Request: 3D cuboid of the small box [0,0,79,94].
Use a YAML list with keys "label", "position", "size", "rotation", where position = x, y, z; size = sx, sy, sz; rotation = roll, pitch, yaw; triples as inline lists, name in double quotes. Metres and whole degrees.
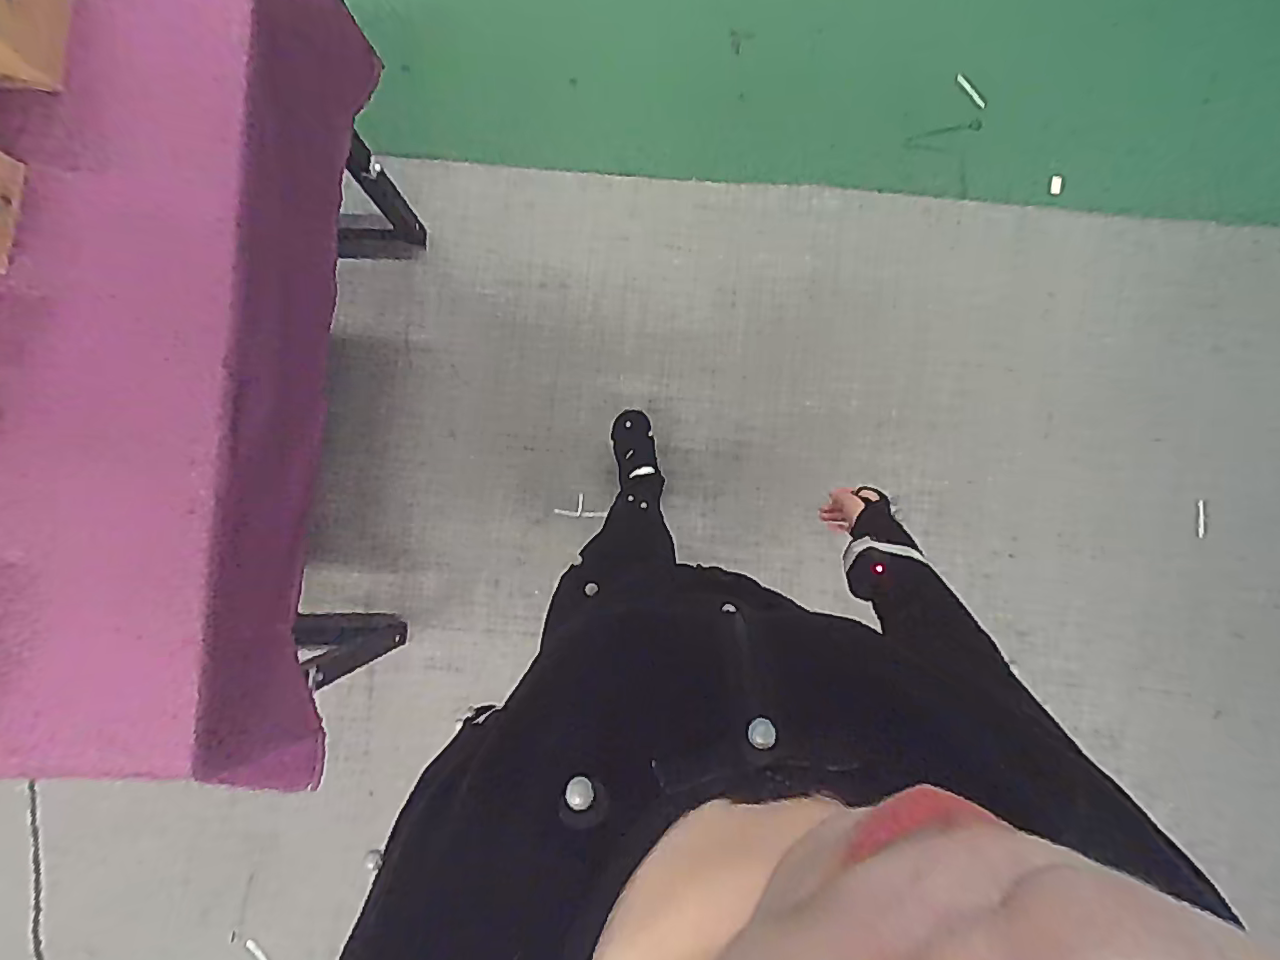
- label: "small box"
  position: [-0.939, -0.681, 0.741]
  size: [0.168, 0.176, 0.179]
  rotation: [4, 87, 0]
